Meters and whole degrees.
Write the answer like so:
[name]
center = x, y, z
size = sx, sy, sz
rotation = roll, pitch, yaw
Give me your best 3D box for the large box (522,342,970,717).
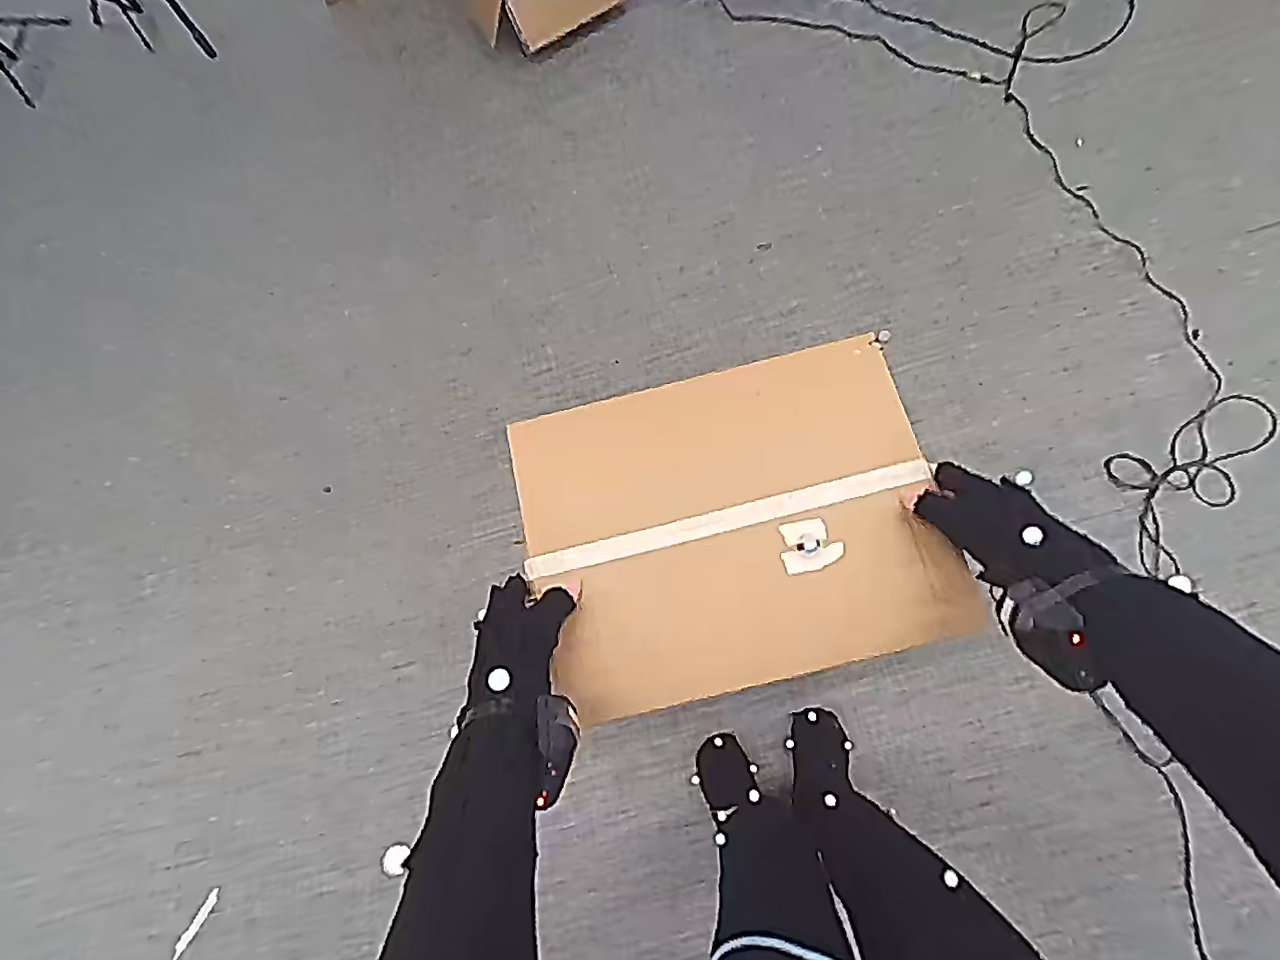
[large box]
center = 0.104, 0.077, 0.704
size = 0.408, 0.320, 0.320
rotation = -14, 76, 0
